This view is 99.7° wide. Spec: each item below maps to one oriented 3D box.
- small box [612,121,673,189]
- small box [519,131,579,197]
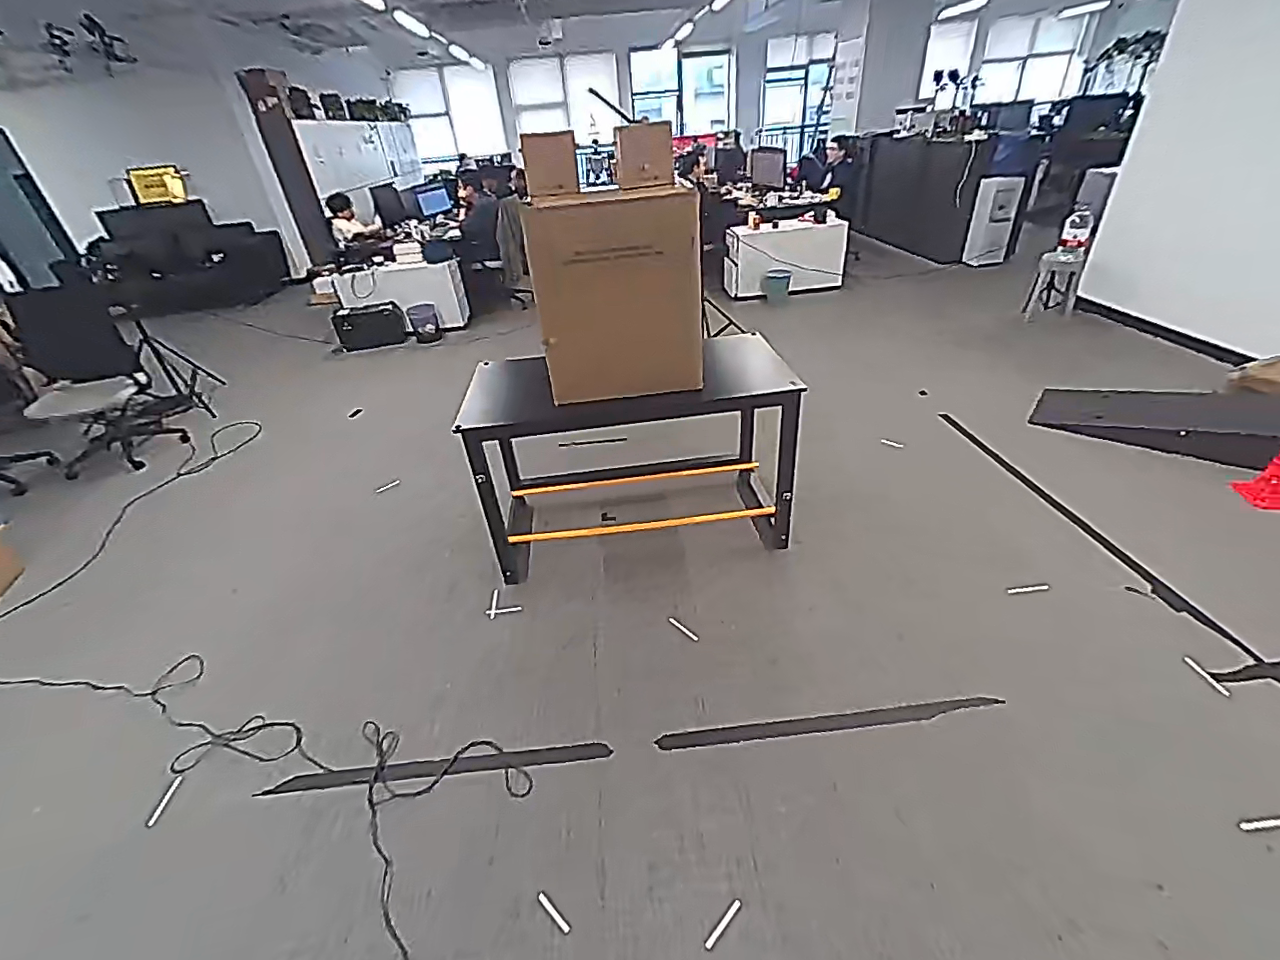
[{"bbox_3d":[0.007,-1.026,1.710,0.168,0.176,0.179,-9,33,-3],"label":"small box"},{"bbox_3d":[-0.286,-1.007,1.726,0.168,0.176,0.179,-8,32,-4],"label":"small box"}]
